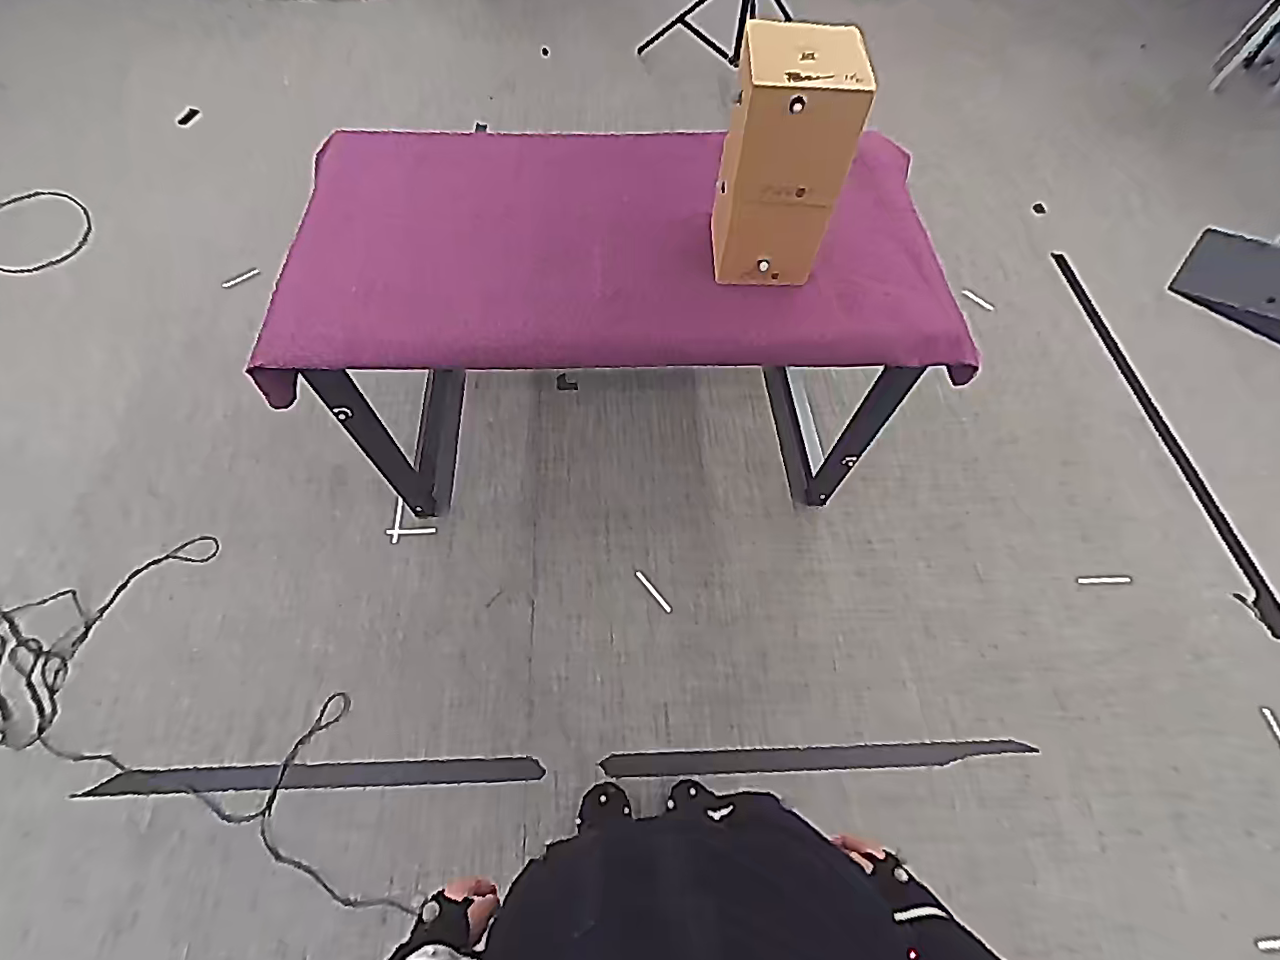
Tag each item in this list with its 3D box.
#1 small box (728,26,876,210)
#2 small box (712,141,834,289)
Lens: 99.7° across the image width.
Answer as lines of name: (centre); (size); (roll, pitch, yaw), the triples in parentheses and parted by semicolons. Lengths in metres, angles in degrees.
small box: (0.229, -0.541, 0.816); (0.168, 0.176, 0.179); (3, 61, 0)
small box: (0.224, -0.468, 0.962); (0.168, 0.176, 0.179); (1, 62, -1)
